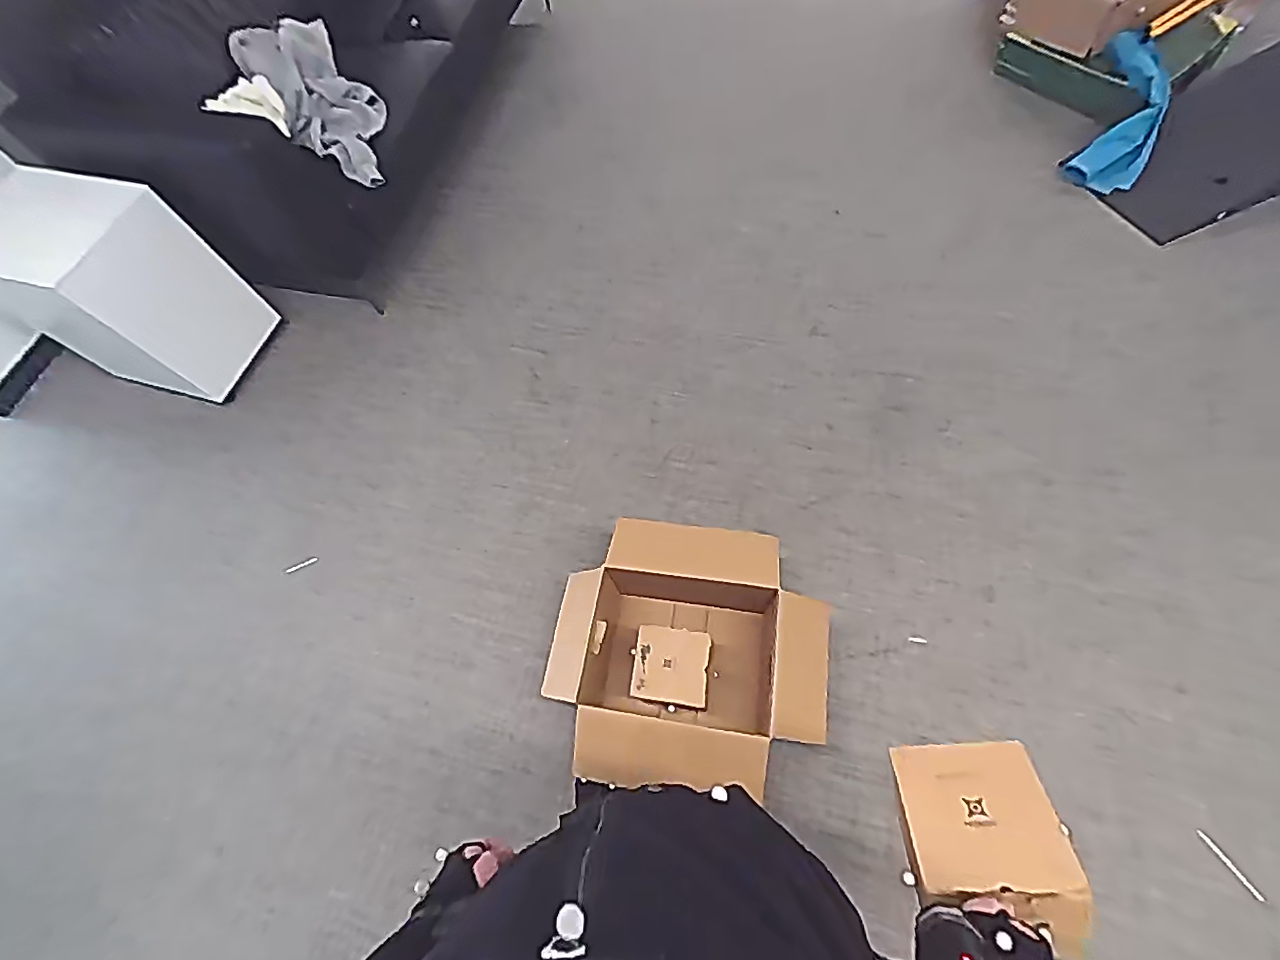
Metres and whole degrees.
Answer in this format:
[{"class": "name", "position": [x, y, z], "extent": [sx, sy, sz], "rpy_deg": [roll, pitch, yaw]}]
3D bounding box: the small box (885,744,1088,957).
[{"class": "small box", "position": [0.428, 0.472, 0.693], "extent": [0.168, 0.176, 0.179], "rpy_deg": [-11, 29, 14]}]
